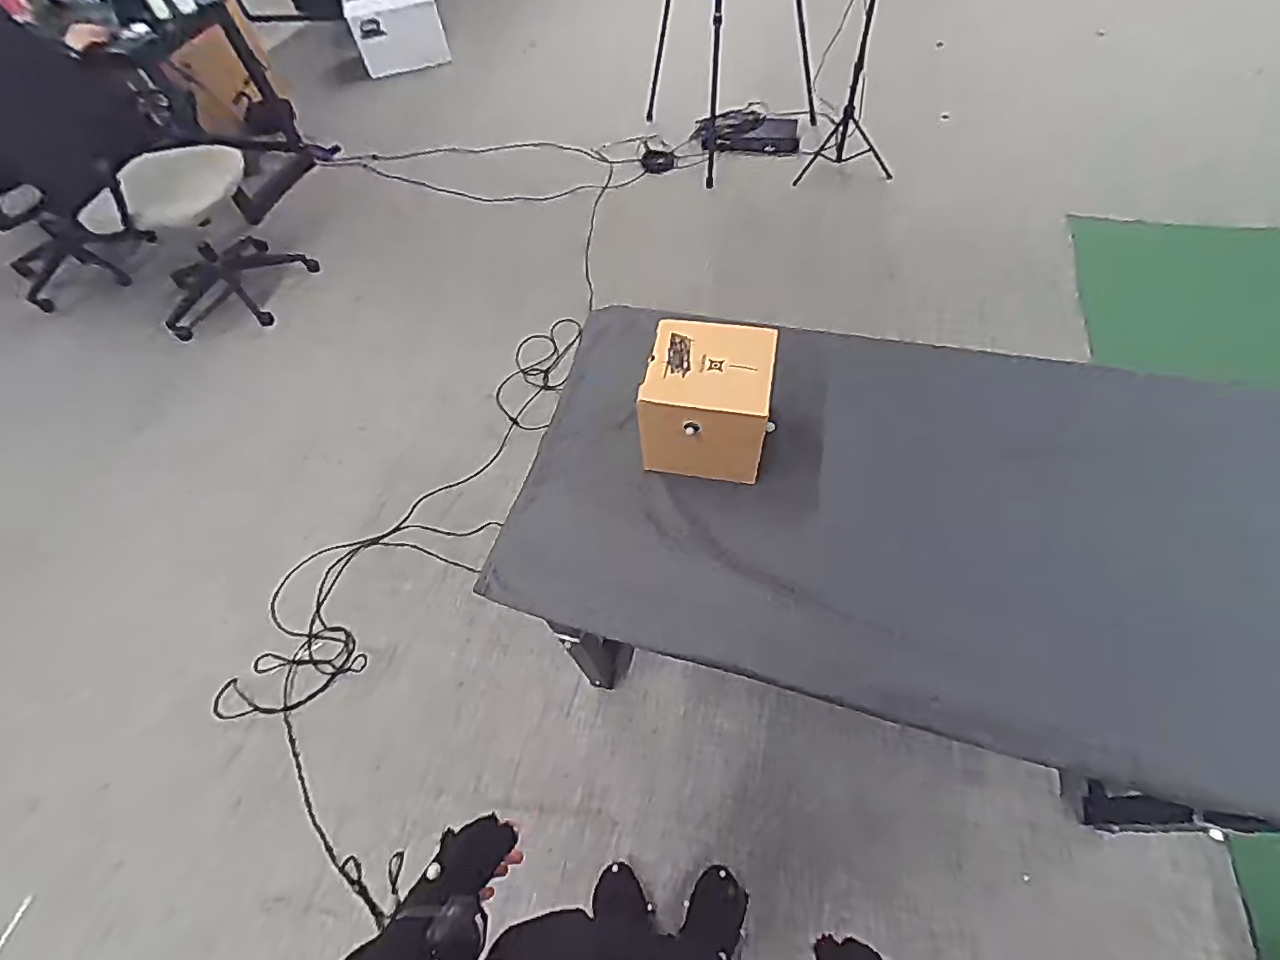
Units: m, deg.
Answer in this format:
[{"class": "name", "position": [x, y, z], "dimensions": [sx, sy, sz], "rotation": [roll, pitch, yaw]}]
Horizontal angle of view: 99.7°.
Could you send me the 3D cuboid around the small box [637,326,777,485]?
[{"class": "small box", "position": [0.102, -0.108, 0.821], "dimensions": [0.179, 0.176, 0.168], "rotation": [8, 58, 10]}]
